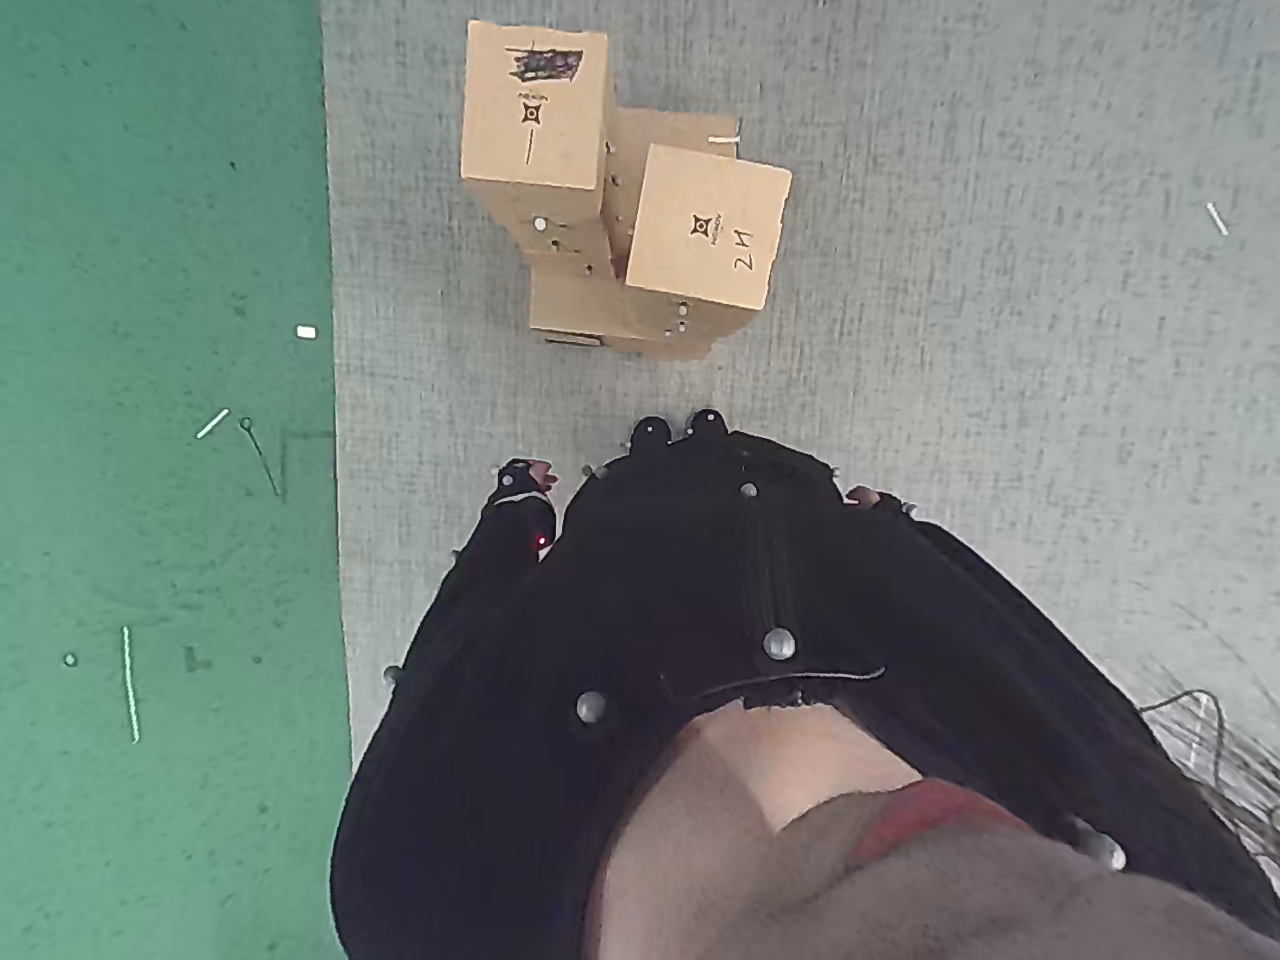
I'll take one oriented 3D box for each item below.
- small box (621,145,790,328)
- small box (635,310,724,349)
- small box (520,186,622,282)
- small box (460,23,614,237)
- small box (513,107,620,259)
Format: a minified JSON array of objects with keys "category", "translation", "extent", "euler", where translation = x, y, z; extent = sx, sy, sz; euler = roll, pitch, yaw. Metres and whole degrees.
[{"category":"small box","translation":[0.078,-0.310,0.726],"extent":[0.179,0.176,0.168],"euler":[11,98,-1]},{"category":"small box","translation":[0.082,-0.365,1.052],"extent":[0.168,0.176,0.179],"euler":[7,95,0]},{"category":"small box","translation":[-0.125,-0.495,1.043],"extent":[0.168,0.176,0.179],"euler":[6,95,0]},{"category":"small box","translation":[-0.126,-0.449,0.720],"extent":[0.168,0.176,0.179],"euler":[6,97,0]},{"category":"small box","translation":[-0.123,-0.480,0.880],"extent":[0.168,0.176,0.179],"euler":[6,98,0]}]
